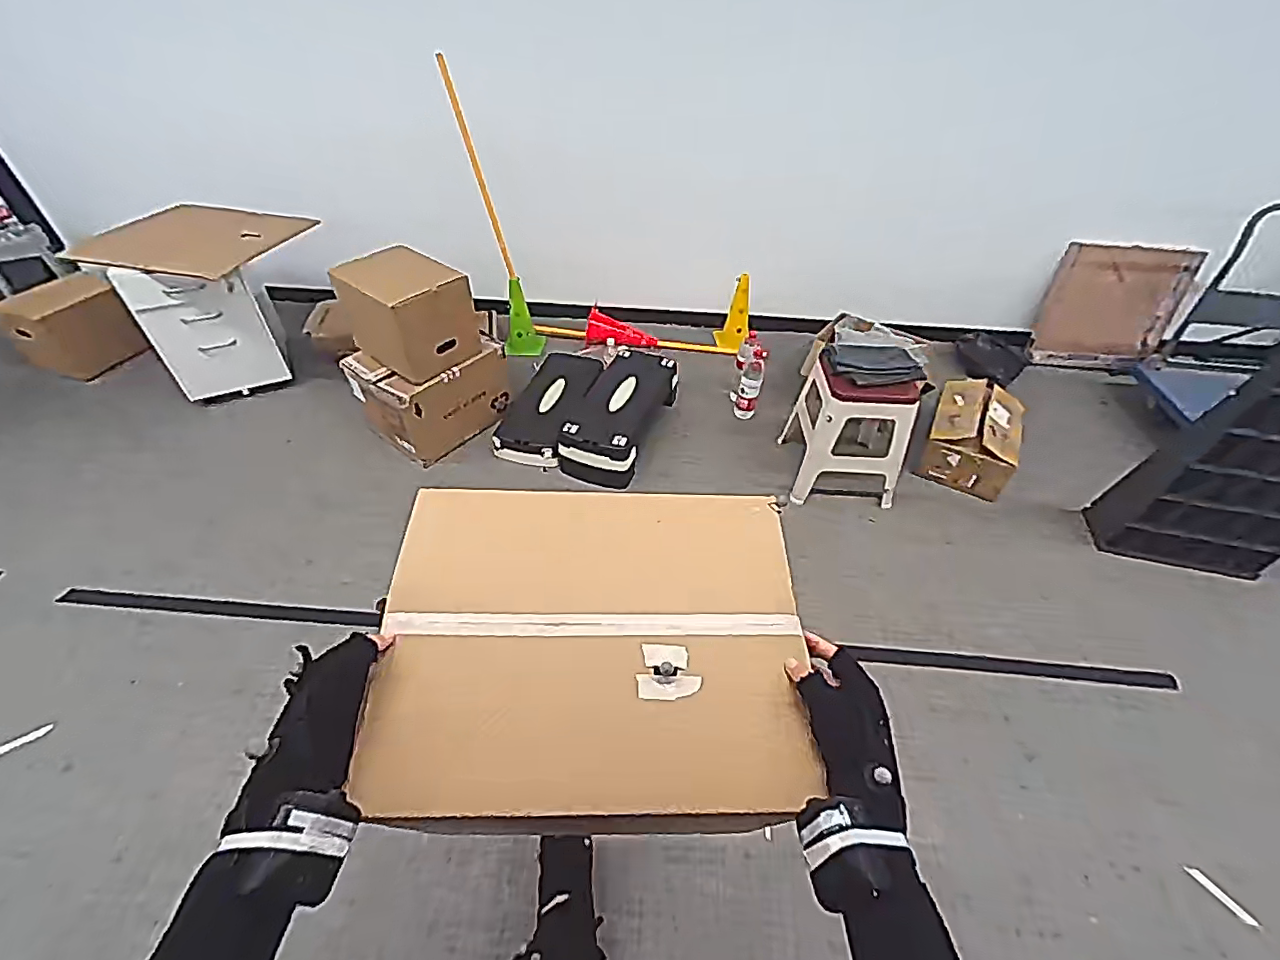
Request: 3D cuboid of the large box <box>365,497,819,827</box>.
[{"bbox_3d":[-0.052,0.233,0.672,0.408,0.320,0.320,1,55,-4],"label":"large box"}]
